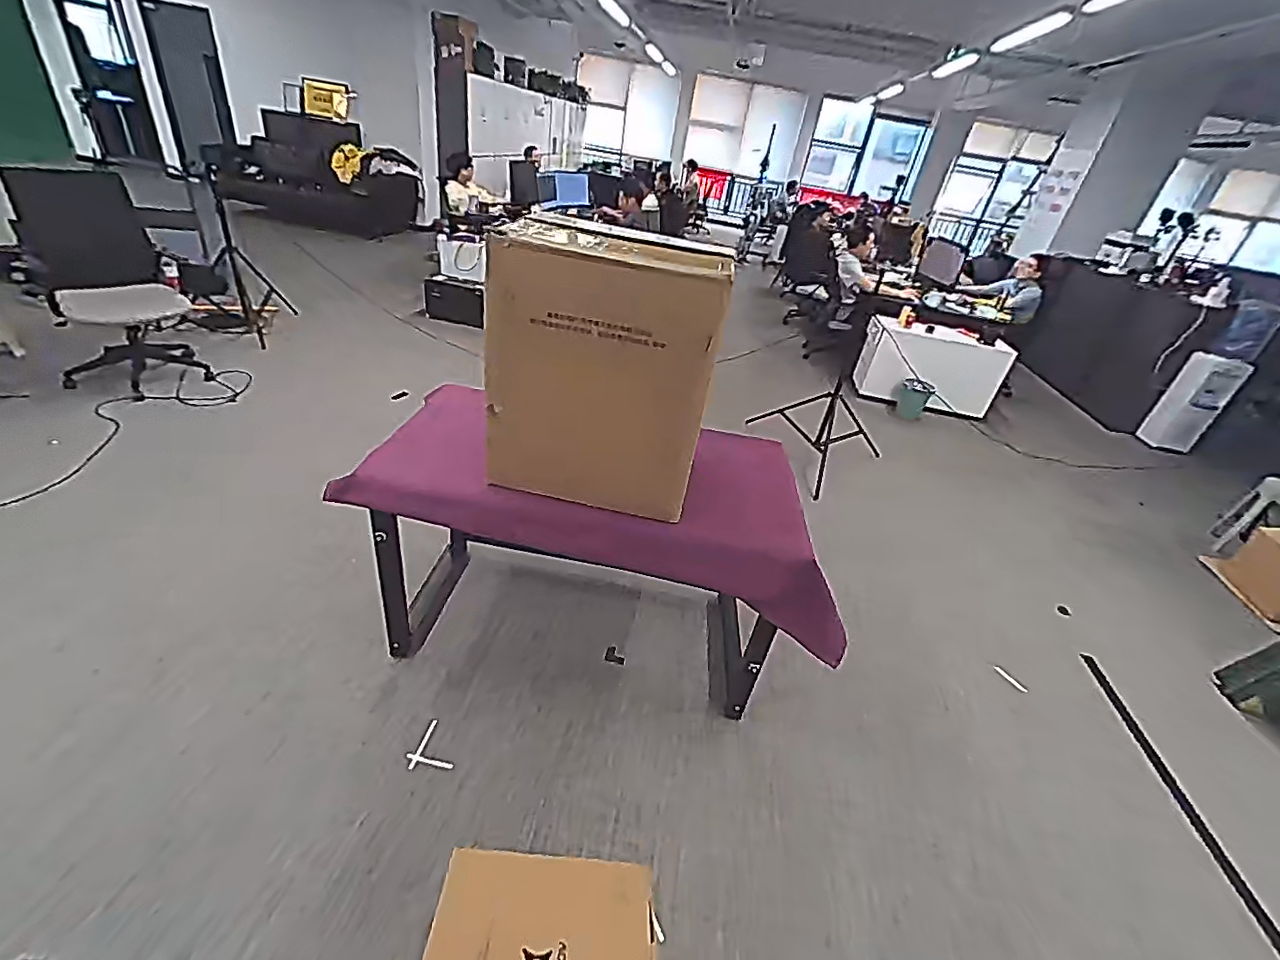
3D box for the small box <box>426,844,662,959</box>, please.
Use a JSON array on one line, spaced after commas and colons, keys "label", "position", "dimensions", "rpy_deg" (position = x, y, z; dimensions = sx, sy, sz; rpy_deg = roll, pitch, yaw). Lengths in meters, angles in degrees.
[{"label": "small box", "position": [-0.081, 0.428, 0.423], "dimensions": [0.179, 0.176, 0.168], "rpy_deg": [7, 20, -6]}]
